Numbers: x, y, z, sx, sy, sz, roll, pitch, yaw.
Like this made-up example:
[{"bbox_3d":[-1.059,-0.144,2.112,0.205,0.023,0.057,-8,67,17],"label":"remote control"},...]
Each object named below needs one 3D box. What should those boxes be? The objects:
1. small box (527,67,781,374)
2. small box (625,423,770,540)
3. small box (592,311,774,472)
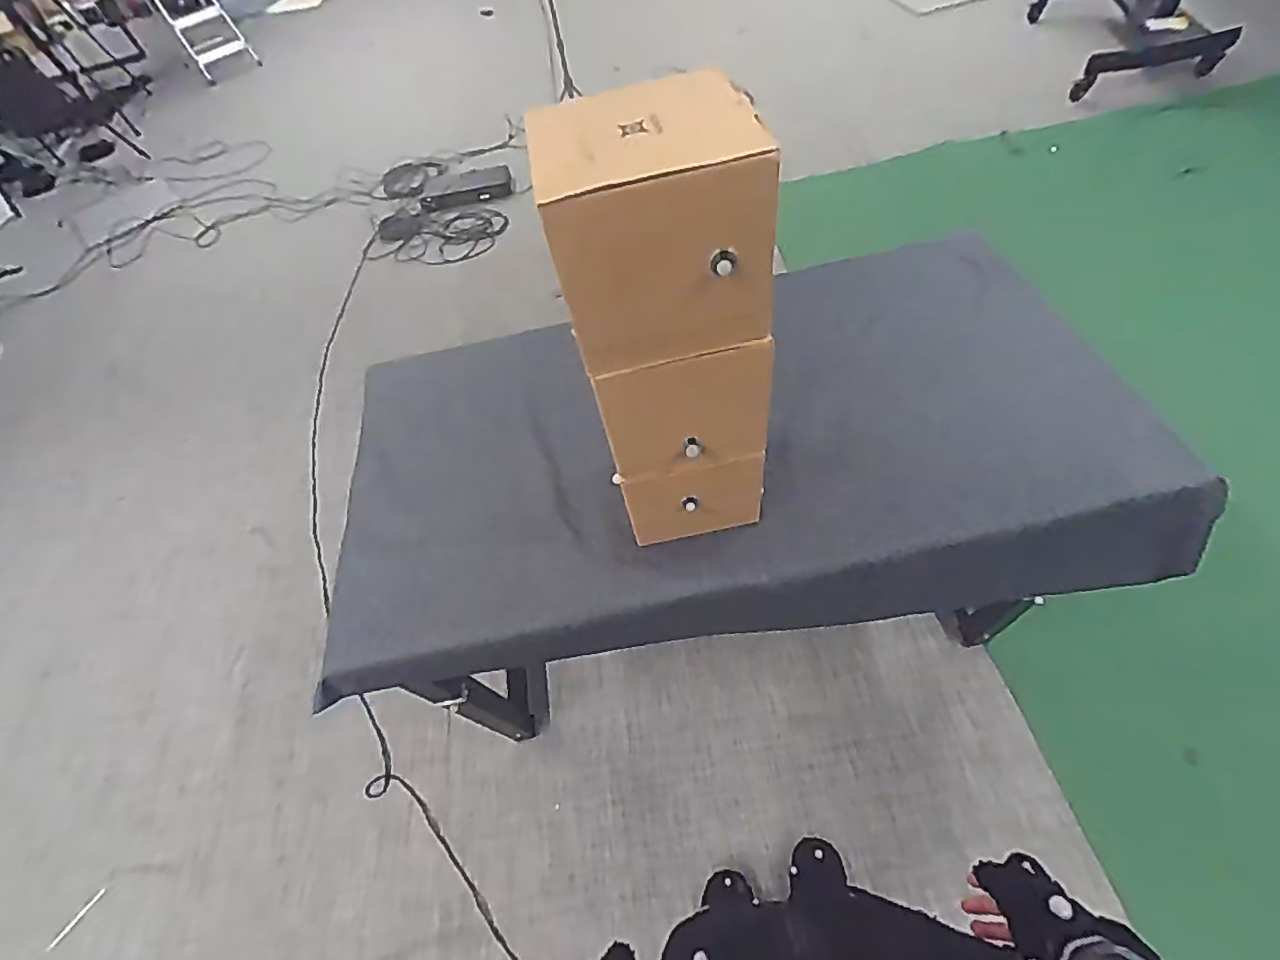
[{"bbox_3d":[0.011,-0.222,0.483,0.179,0.176,0.168,-14,55,2],"label":"small box"},{"bbox_3d":[0.063,-0.039,0.747,0.179,0.176,0.168,-14,56,-1],"label":"small box"},{"bbox_3d":[0.039,-0.131,0.615,0.179,0.176,0.168,-11,55,1],"label":"small box"}]
